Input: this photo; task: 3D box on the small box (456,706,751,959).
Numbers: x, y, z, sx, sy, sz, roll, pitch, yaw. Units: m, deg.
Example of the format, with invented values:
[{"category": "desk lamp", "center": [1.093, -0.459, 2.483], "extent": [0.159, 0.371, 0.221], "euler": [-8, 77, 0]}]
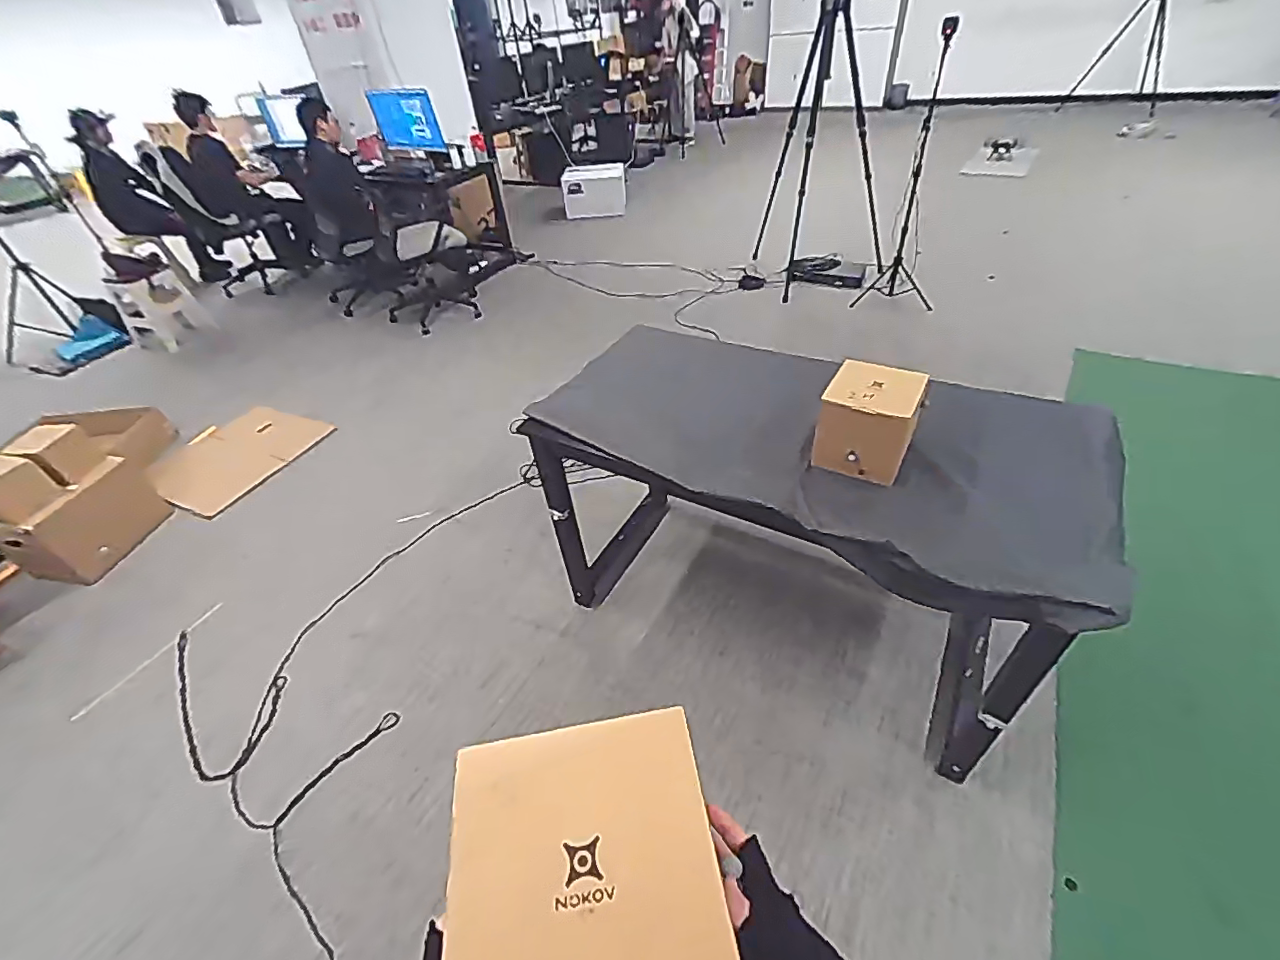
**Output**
[{"category": "small box", "center": [-0.027, 0.293, 0.389], "extent": [0.168, 0.176, 0.179], "euler": [-8, 46, -6]}]

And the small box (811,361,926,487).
[{"category": "small box", "center": [0.463, -0.118, 1.114], "extent": [0.168, 0.176, 0.179], "euler": [19, 47, 26]}]
